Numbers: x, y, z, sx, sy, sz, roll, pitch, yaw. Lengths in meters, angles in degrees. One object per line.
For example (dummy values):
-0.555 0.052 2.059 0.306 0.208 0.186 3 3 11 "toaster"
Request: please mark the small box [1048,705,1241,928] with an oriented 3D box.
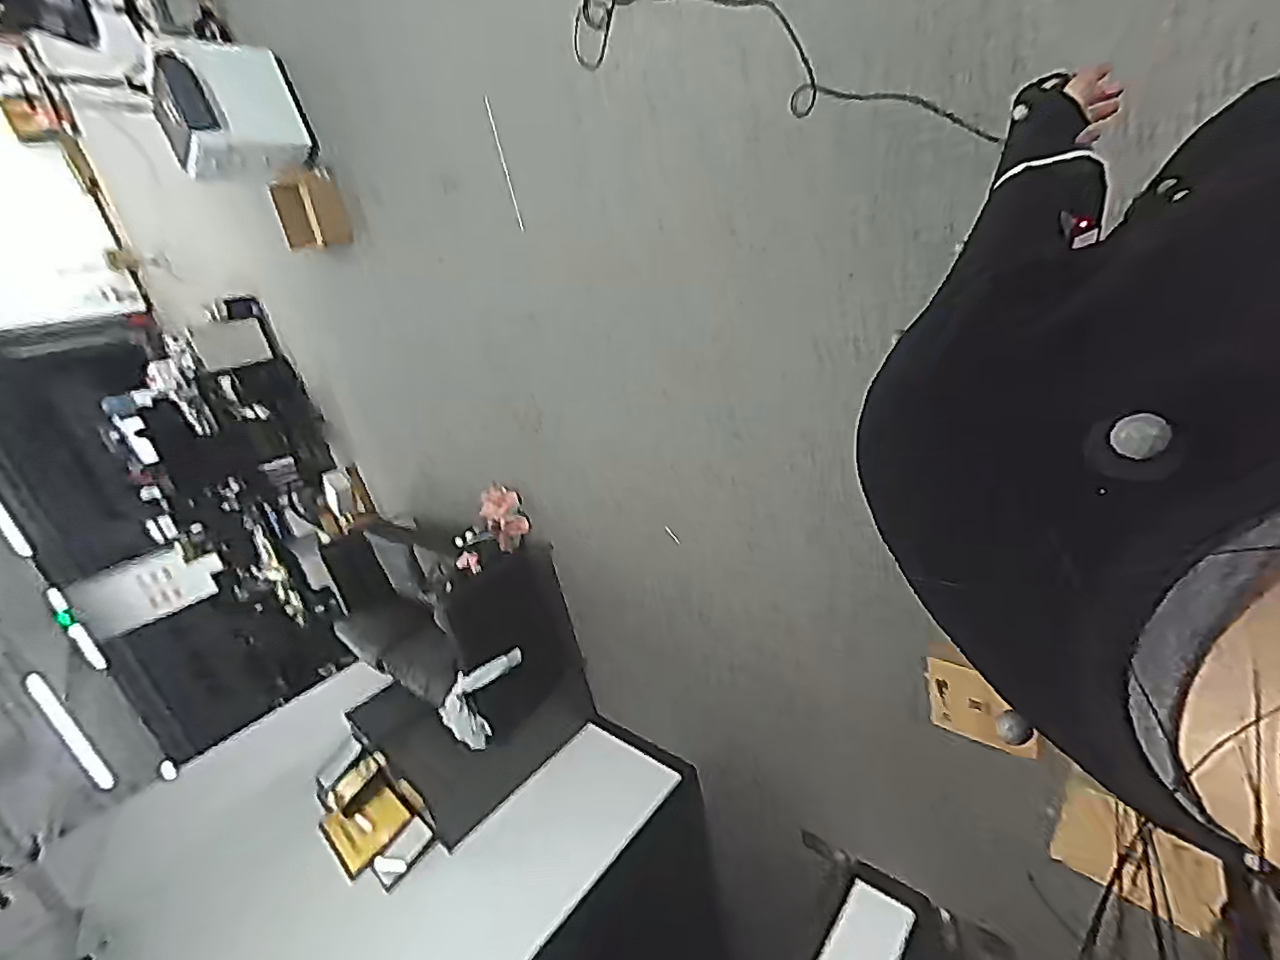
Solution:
0.729 0.475 0.788 0.168 0.176 0.179 17 123 40 "small box"
